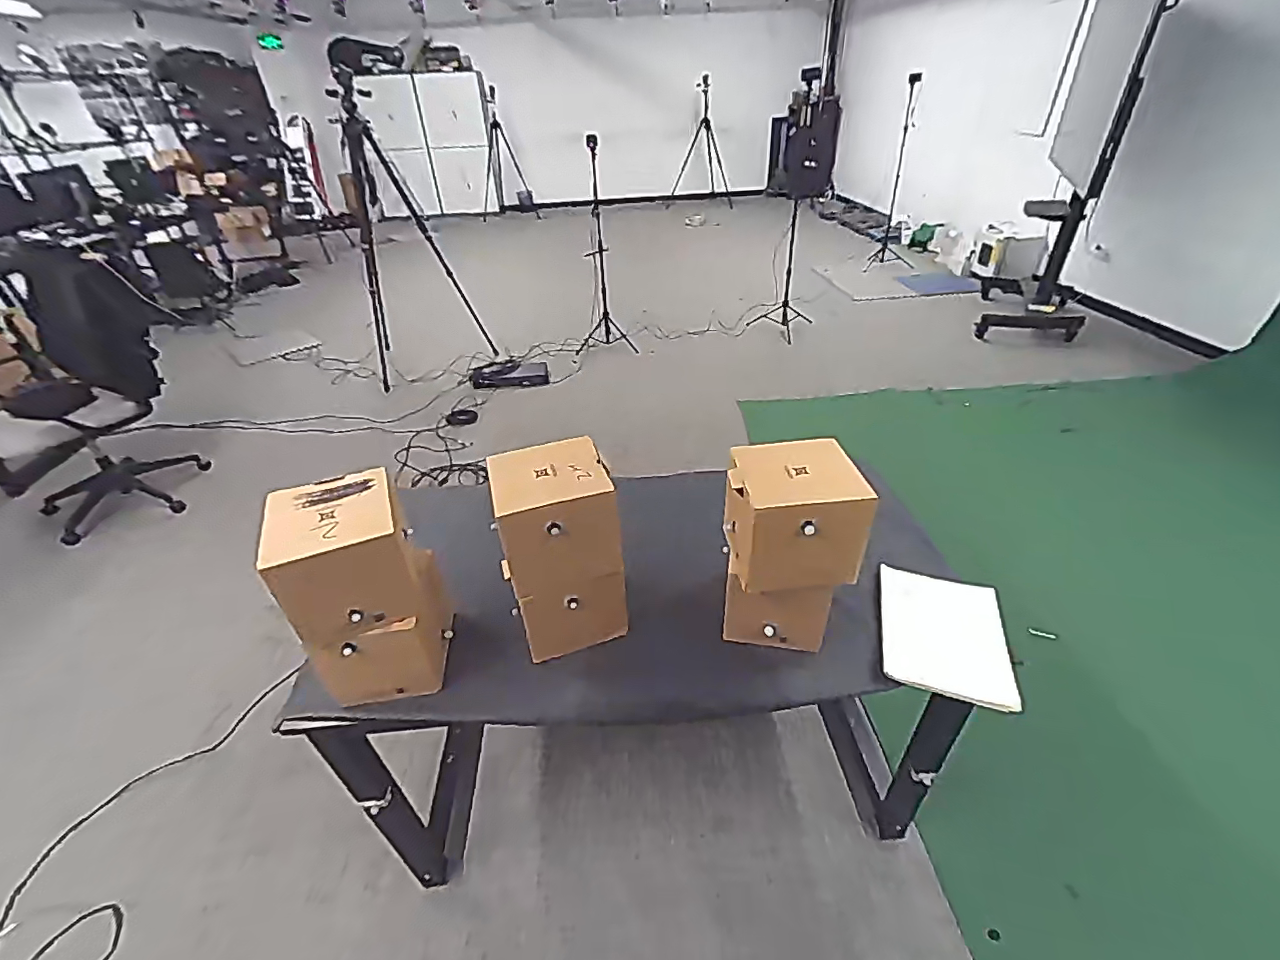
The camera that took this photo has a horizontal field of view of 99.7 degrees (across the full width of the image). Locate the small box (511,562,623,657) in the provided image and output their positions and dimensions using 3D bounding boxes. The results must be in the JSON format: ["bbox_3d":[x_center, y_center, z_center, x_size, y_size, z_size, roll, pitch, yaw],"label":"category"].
[{"bbox_3d":[-0.139,0.189,0.977,0.179,0.176,0.168,-14,38,-15],"label":"small box"}]

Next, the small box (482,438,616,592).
[{"bbox_3d":[-0.146,0.057,0.879,0.179,0.176,0.168,-13,37,-13],"label":"small box"}]

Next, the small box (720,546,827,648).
[{"bbox_3d":[0.233,0.170,0.968,0.168,0.176,0.179,4,36,11],"label":"small box"}]

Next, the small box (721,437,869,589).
[{"bbox_3d":[0.229,0.052,0.854,0.179,0.176,0.168,-6,35,-2],"label":"small box"}]

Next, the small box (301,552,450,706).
[{"bbox_3d":[-0.430,0.248,0.915,0.168,0.176,0.179,-7,36,-6],"label":"small box"}]
